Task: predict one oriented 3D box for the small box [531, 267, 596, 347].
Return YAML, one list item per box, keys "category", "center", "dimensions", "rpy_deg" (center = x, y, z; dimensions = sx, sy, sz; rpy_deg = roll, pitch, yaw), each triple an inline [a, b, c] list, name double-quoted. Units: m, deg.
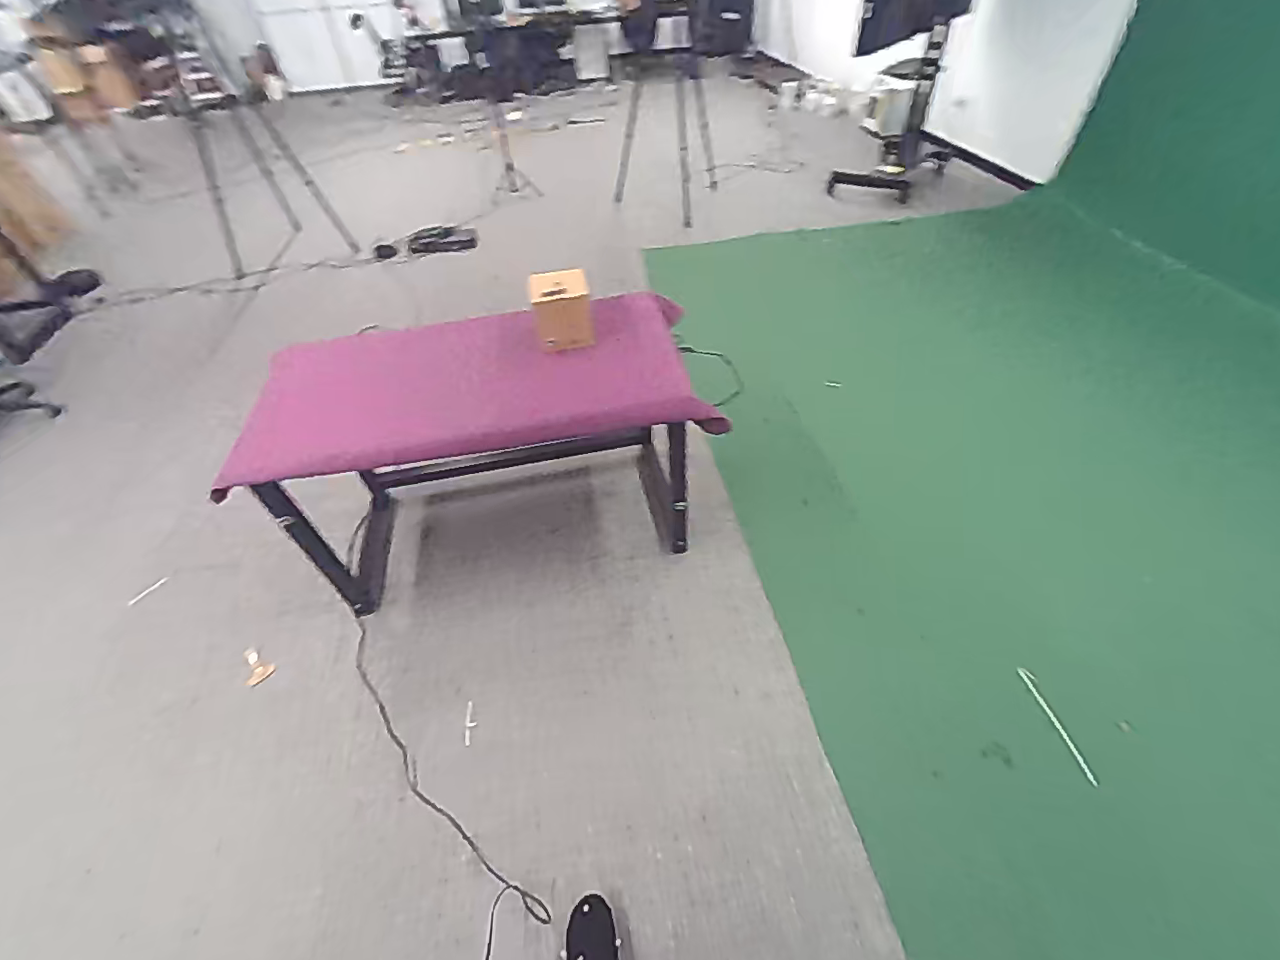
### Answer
- category: "small box"
  center: [-0.230, -0.517, 1.633]
  dimensions: [0.168, 0.176, 0.179]
  rpy_deg: [-9, 45, -4]
